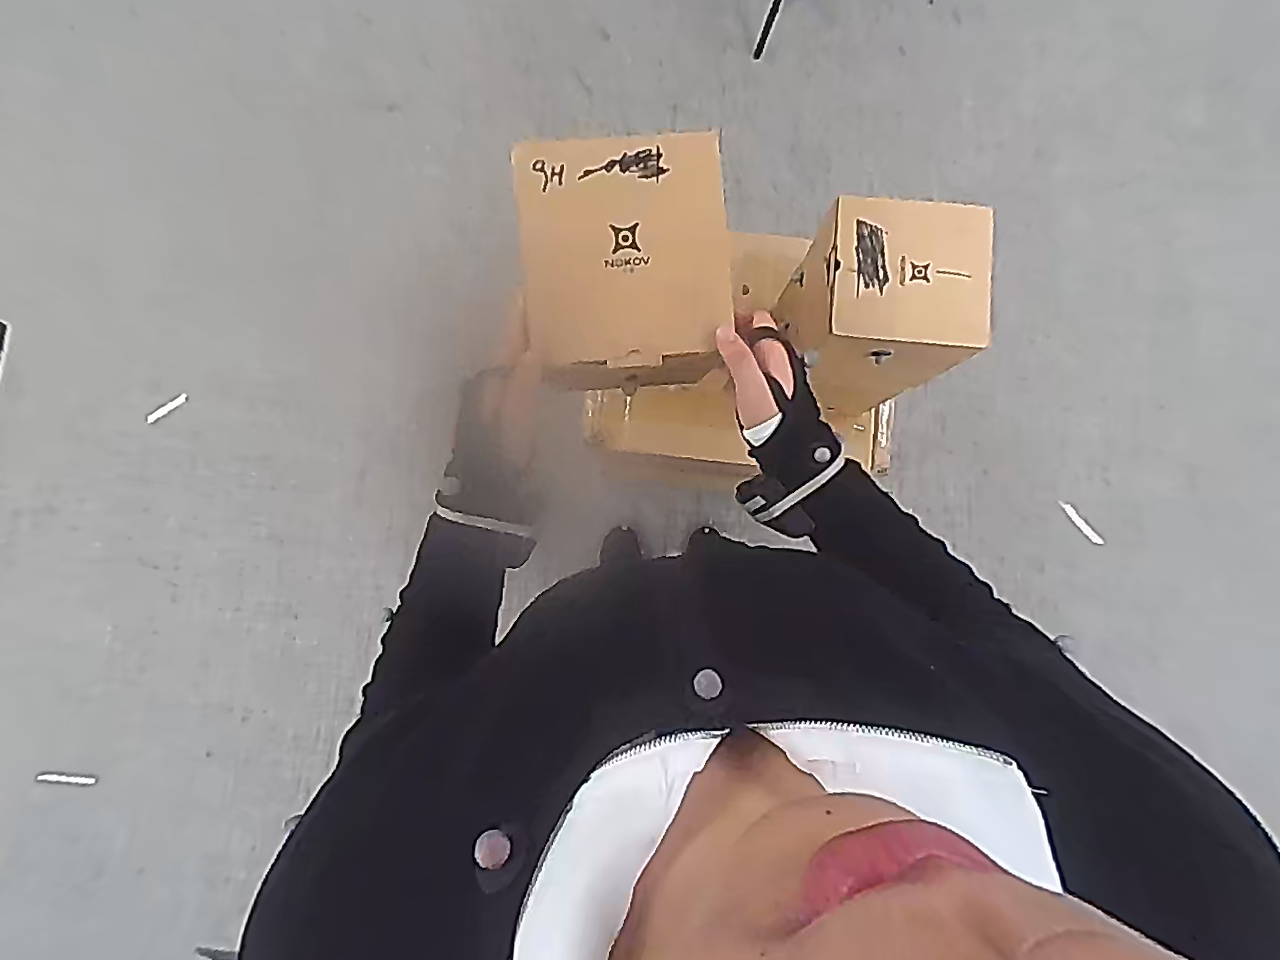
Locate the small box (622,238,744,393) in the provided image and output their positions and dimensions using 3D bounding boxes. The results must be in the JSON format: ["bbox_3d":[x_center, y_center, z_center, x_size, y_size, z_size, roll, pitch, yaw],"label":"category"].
[{"bbox_3d":[0.060,-0.247,0.847,0.168,0.176,0.179,4,84,-1],"label":"small box"}]

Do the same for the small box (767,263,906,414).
[{"bbox_3d":[0.301,-0.212,0.846,0.168,0.176,0.179,5,85,3],"label":"small box"}]

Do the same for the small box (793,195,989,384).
[{"bbox_3d":[0.301,-0.227,0.682,0.179,0.176,0.168,5,85,1],"label":"small box"}]
